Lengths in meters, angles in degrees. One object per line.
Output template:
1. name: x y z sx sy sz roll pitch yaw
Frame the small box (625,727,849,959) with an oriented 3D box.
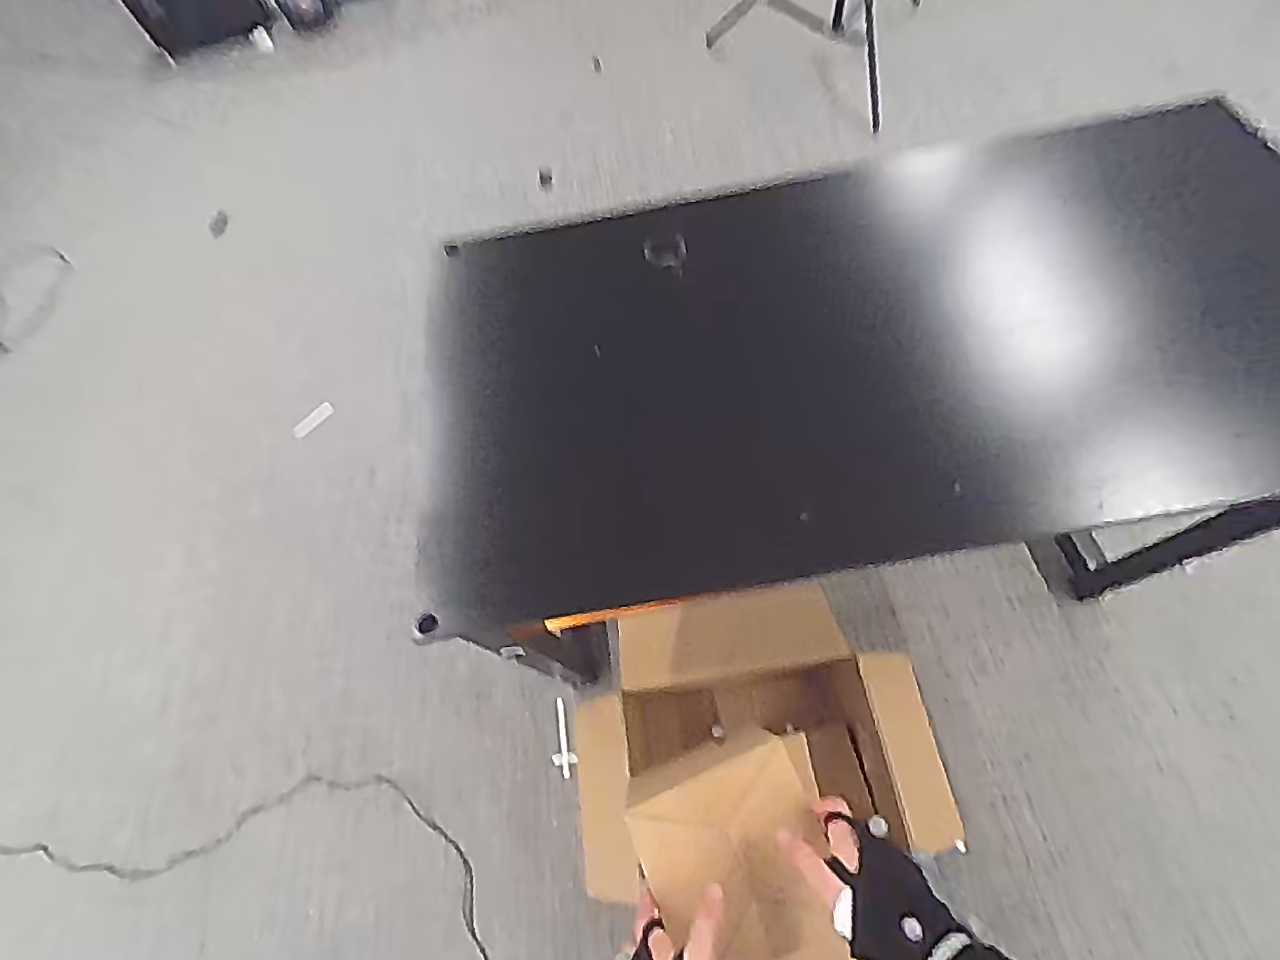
1. small box: 0.093 0.394 0.587 0.179 0.176 0.168 -21 71 -7
